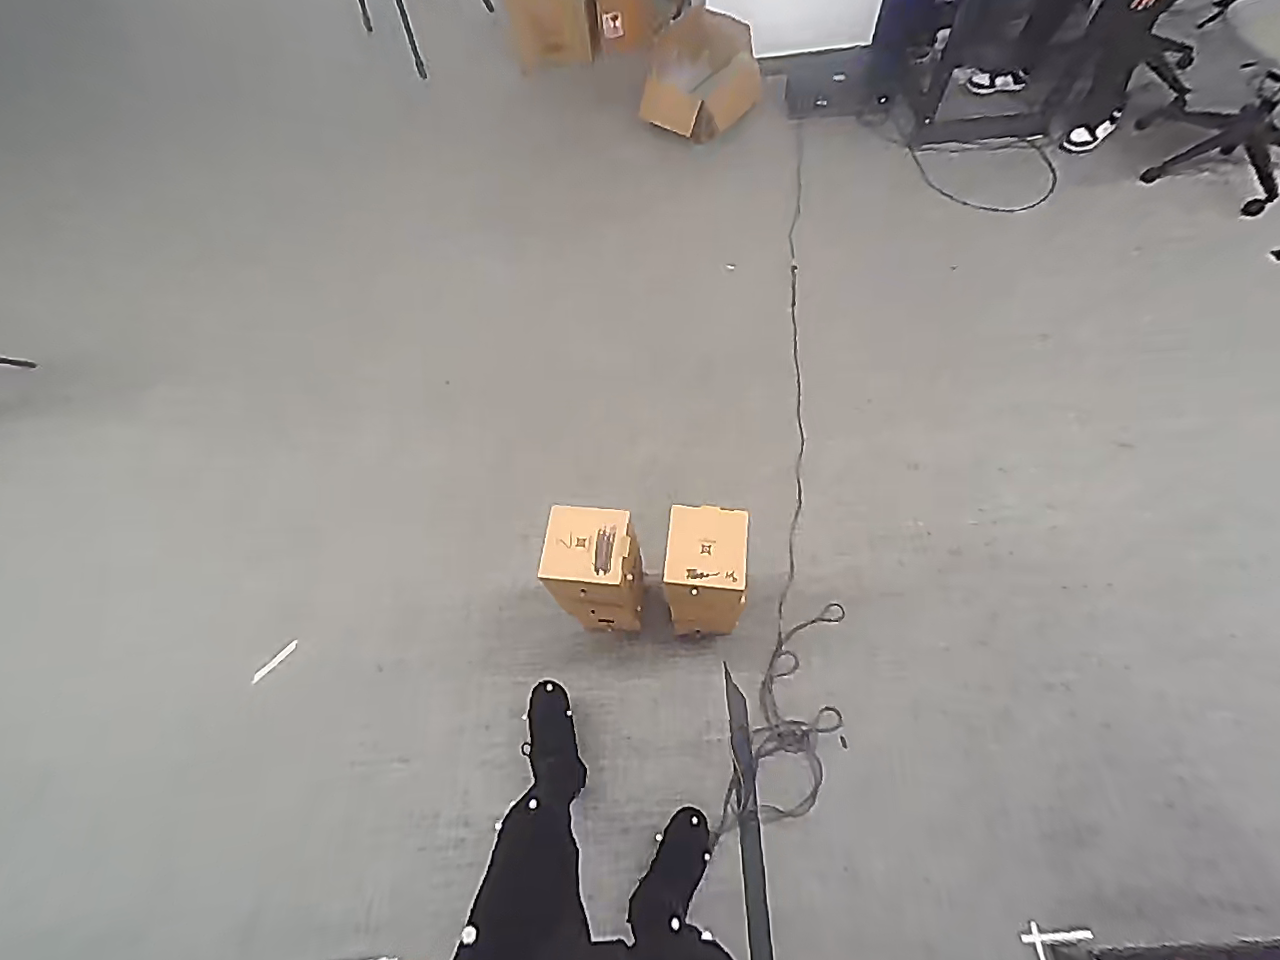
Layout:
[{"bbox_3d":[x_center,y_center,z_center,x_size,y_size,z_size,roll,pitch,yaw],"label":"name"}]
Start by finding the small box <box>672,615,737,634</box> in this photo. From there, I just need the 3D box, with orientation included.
[{"bbox_3d":[0.170,0.316,1.482,0.168,0.176,0.179,-3,64,3],"label":"small box"}]

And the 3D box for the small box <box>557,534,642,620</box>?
[{"bbox_3d":[-0.092,0.247,1.349,0.179,0.176,0.168,5,64,8],"label":"small box"}]

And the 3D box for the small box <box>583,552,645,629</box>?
[{"bbox_3d":[-0.075,0.306,1.502,0.168,0.176,0.179,1,64,6],"label":"small box"}]

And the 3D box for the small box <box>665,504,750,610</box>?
[{"bbox_3d":[0.146,0.172,1.190,0.168,0.176,0.179,5,63,7],"label":"small box"}]

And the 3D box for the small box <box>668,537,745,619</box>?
[{"bbox_3d":[0.160,0.244,1.337,0.179,0.176,0.168,-1,63,4],"label":"small box"}]
